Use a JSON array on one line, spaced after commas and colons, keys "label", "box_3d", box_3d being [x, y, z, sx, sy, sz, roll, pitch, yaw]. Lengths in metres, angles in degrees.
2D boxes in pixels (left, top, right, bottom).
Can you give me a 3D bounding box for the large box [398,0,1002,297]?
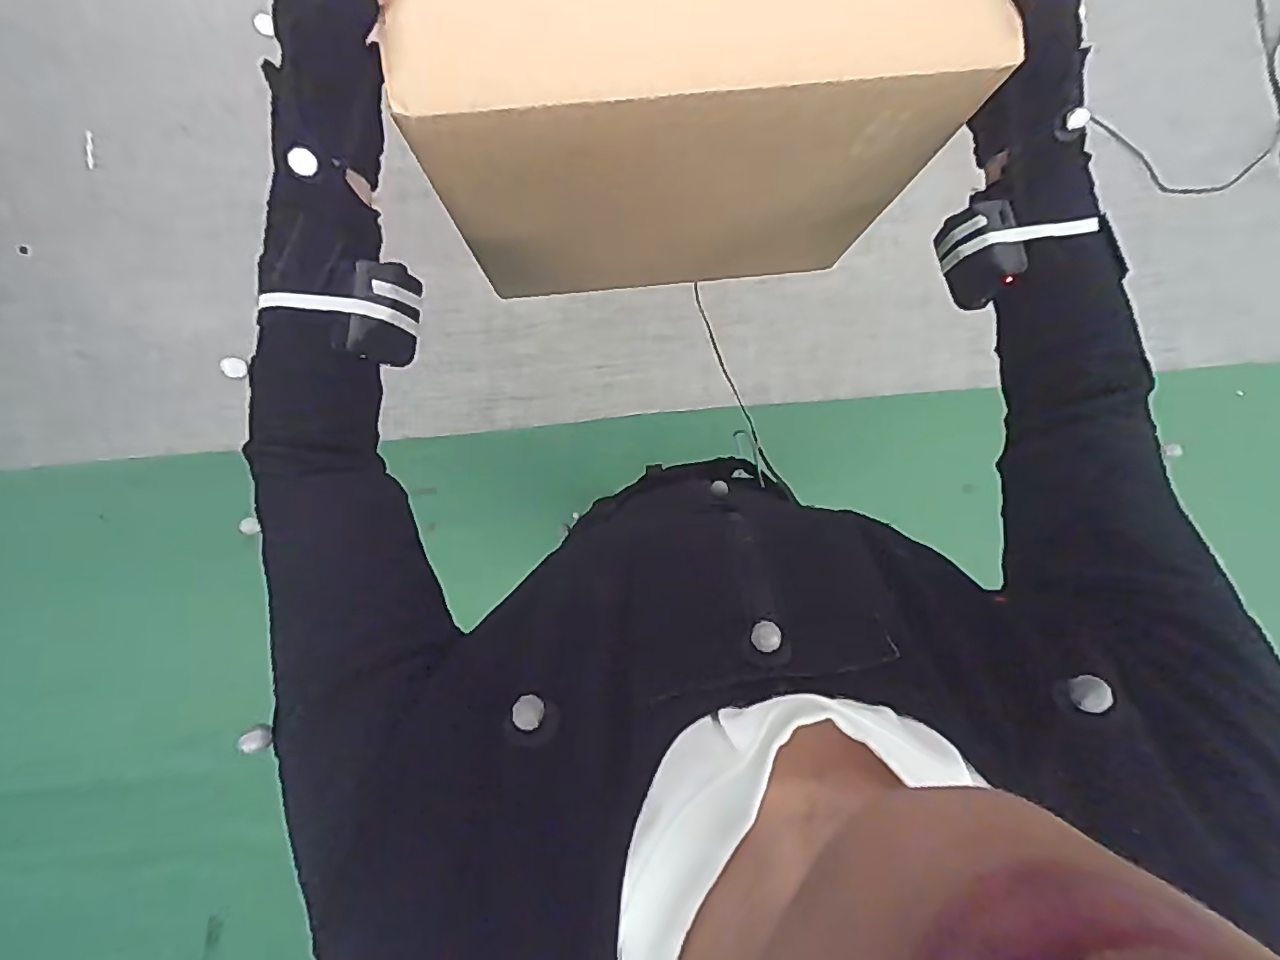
[{"label": "large box", "box_3d": [0.021, -0.396, 0.507, 0.408, 0.320, 0.320, -7, 89, -4]}]
